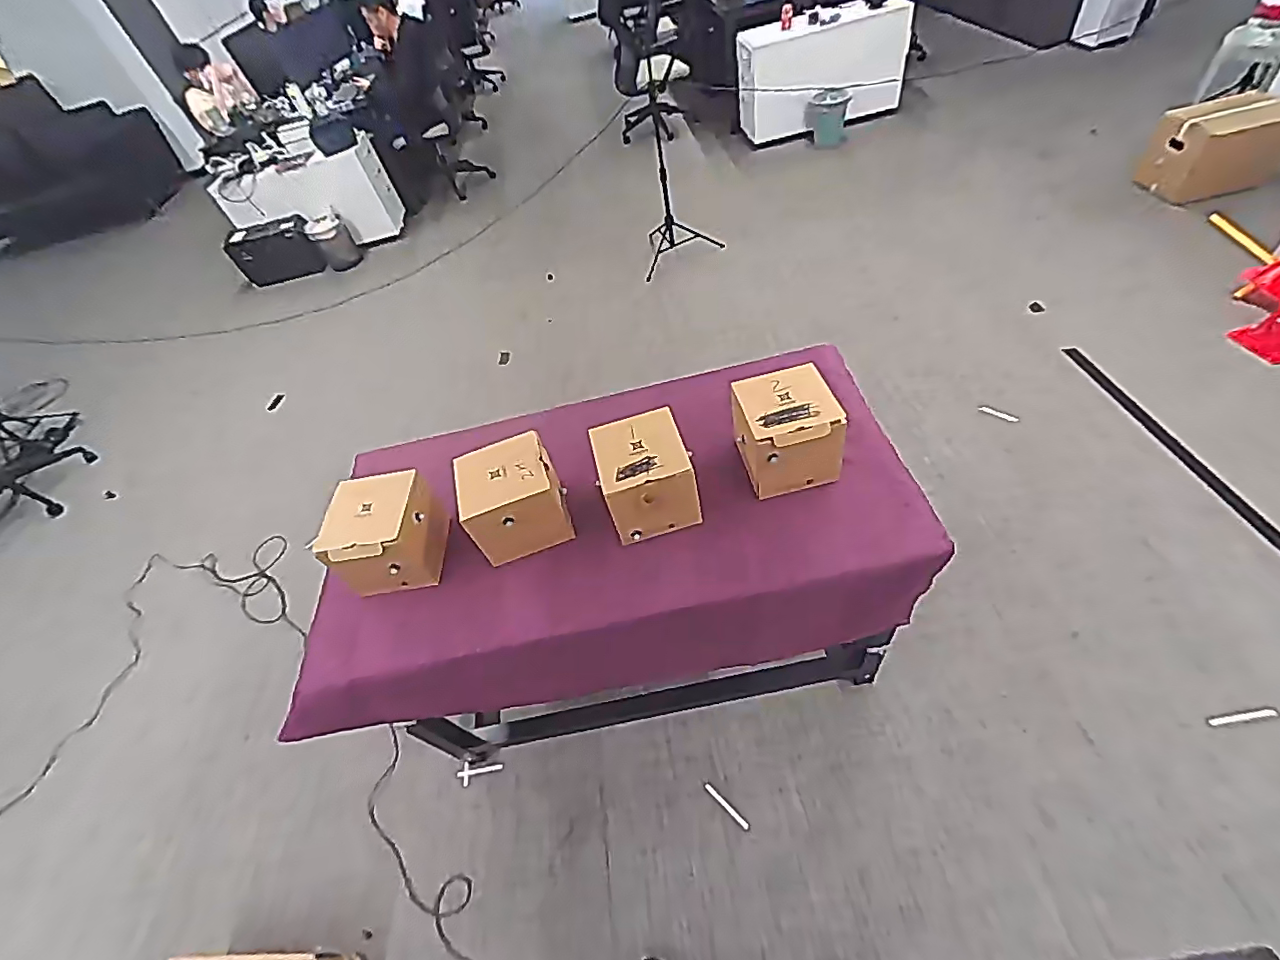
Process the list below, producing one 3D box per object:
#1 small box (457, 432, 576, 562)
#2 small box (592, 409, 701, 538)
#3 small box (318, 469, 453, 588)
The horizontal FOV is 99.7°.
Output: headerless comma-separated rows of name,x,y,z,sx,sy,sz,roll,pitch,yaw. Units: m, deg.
small box,-0.245,0.038,1.083,0.179,0.176,0.168,-19,50,-3
small box,0.016,-0.005,1.059,0.168,0.176,0.179,-16,49,0
small box,-0.497,0.105,1.087,0.168,0.176,0.179,-8,50,5
